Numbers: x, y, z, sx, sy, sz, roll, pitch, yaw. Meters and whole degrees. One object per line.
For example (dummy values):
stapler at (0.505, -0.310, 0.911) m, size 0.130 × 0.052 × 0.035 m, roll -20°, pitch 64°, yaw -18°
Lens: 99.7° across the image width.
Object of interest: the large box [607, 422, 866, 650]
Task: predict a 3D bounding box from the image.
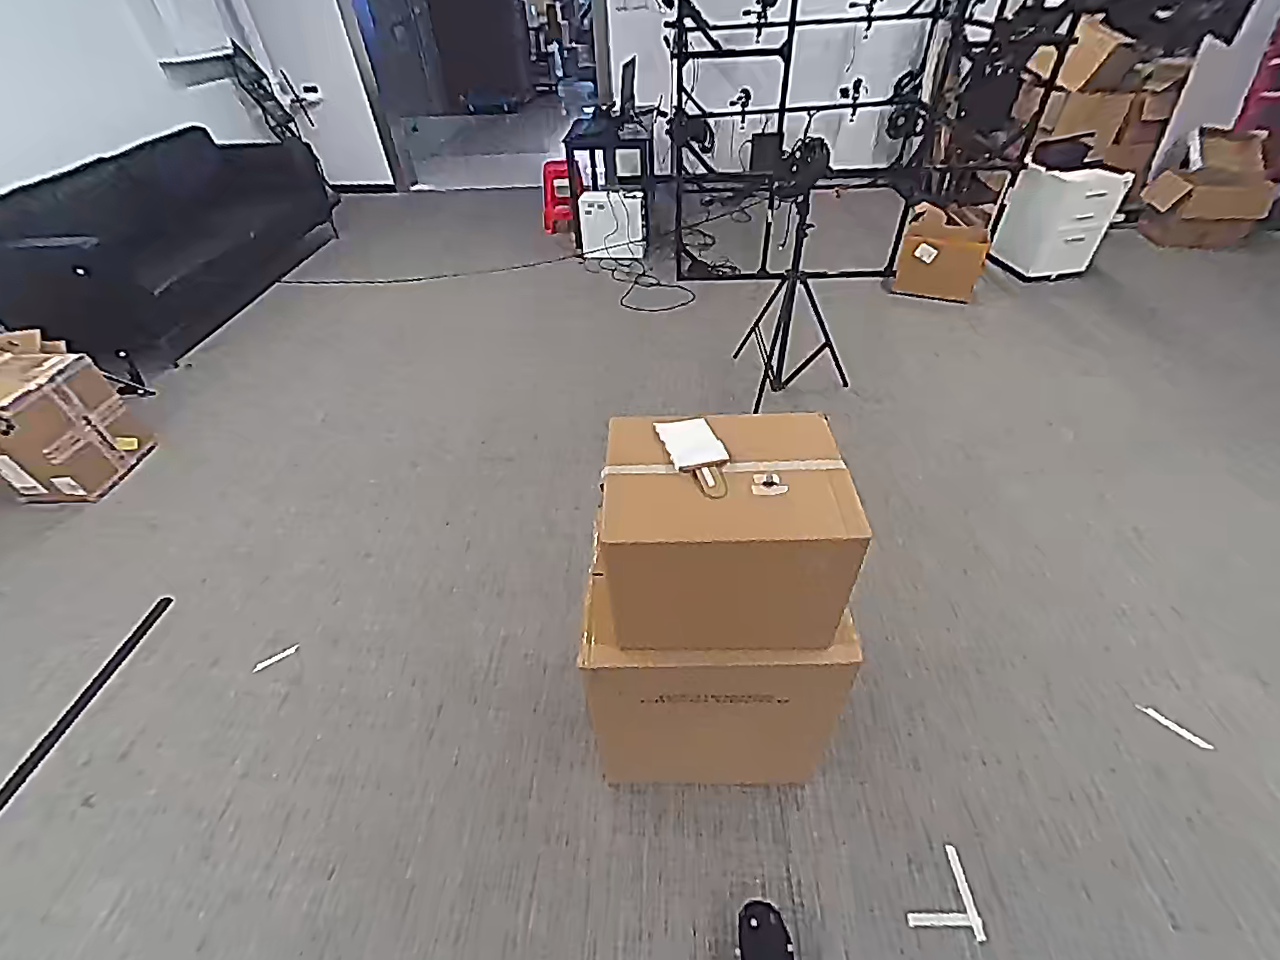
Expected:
large box at (0.149, 0.106, 1.029) m, size 0.408 × 0.320 × 0.320 m, roll -1°, pitch 43°, yaw 2°
